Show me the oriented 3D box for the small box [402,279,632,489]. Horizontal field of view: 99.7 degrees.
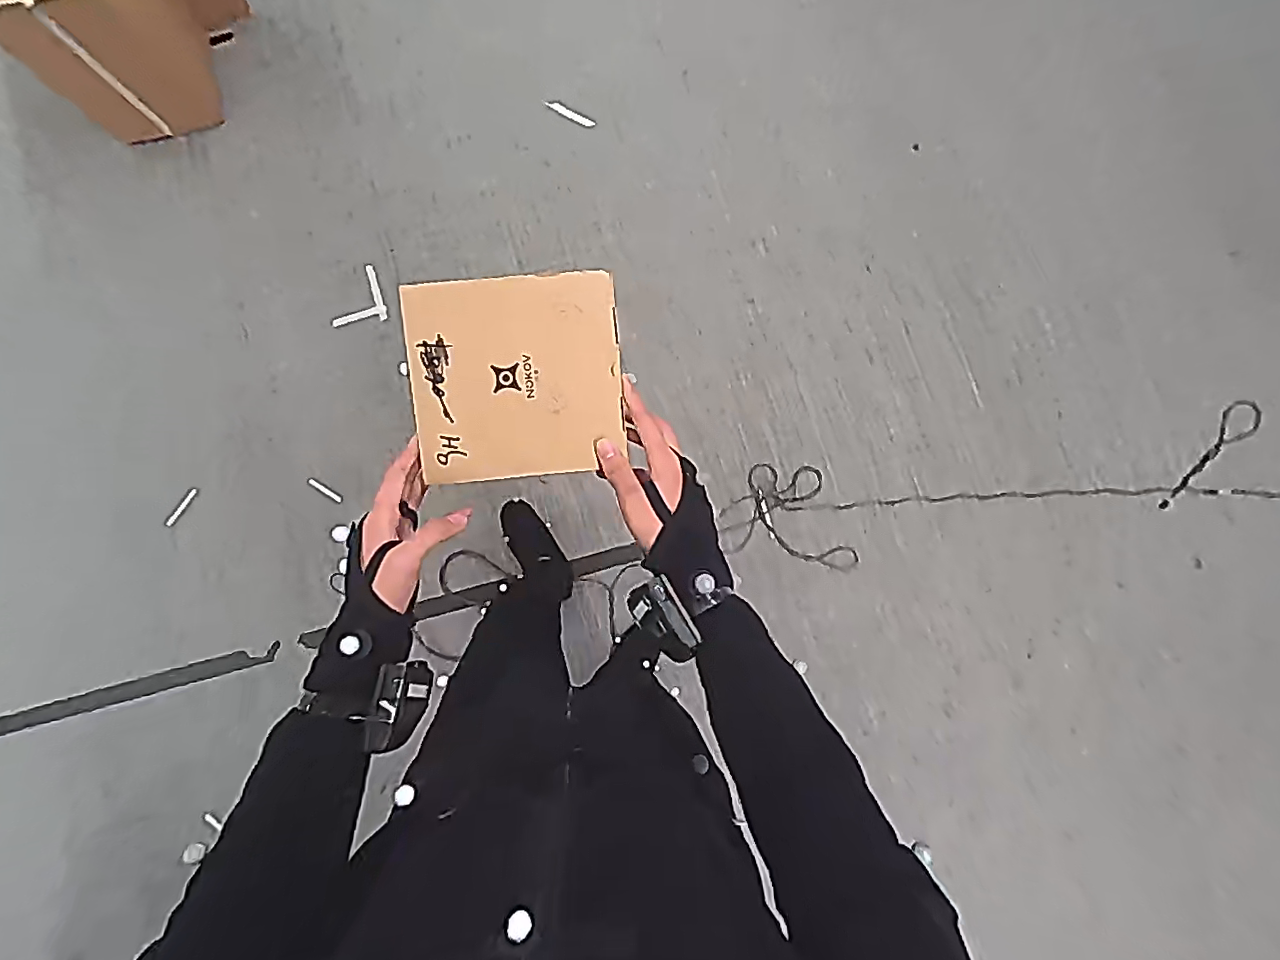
[{"bbox_3d":[-0.105,-0.087,0.525,0.179,0.176,0.168,-5,95,-3],"label":"small box"}]
